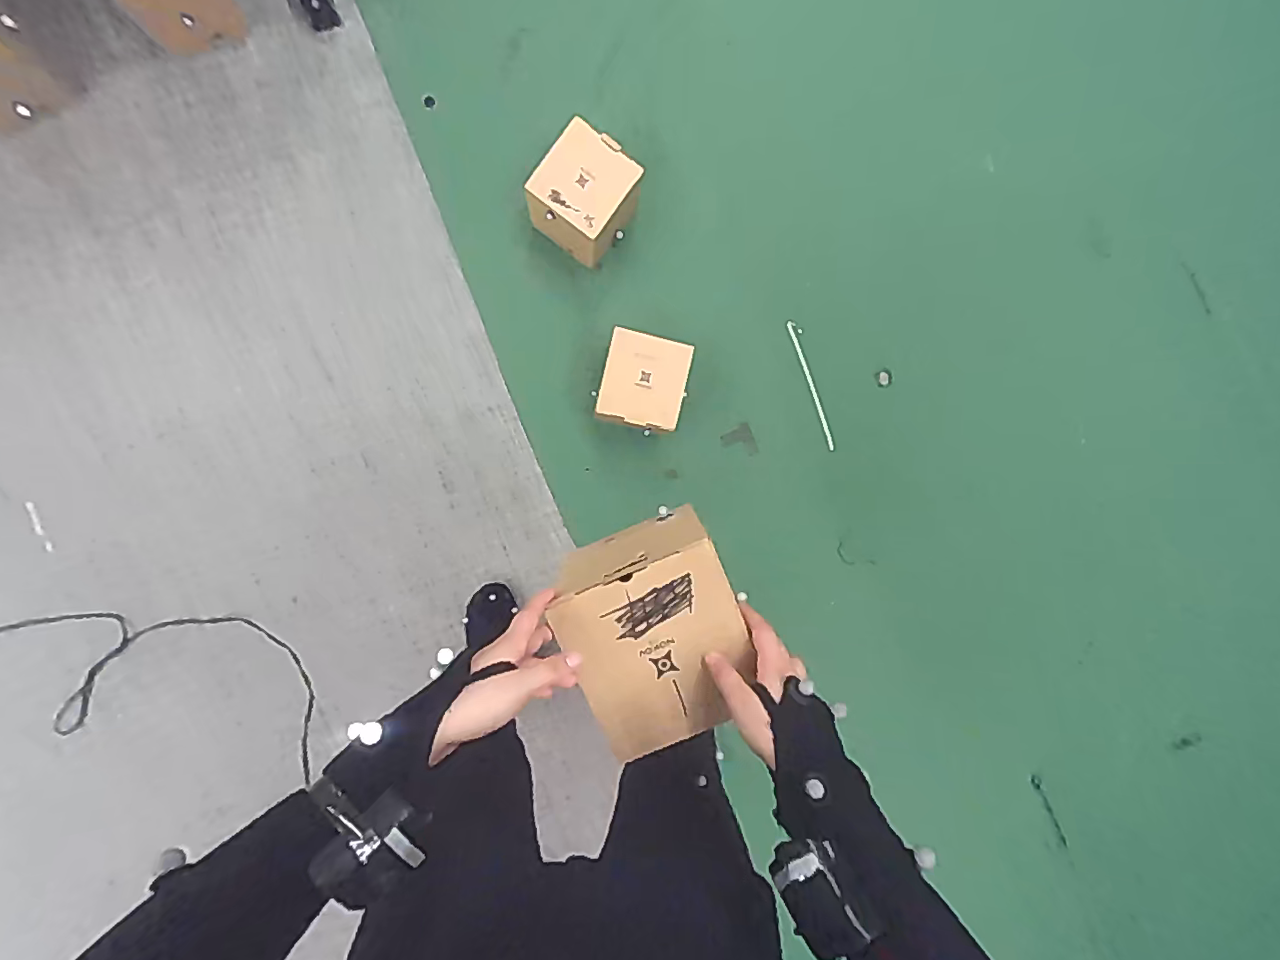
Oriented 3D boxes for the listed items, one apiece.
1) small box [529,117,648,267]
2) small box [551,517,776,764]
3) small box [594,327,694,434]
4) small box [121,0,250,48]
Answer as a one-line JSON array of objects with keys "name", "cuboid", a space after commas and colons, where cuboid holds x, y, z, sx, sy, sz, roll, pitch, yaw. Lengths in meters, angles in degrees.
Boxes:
[{"name": "small box", "cuboid": [-0.109, -0.579, 1.112, 0.168, 0.176, 0.179, 37, 88, -6]}, {"name": "small box", "cuboid": [0.020, 0.152, 0.581, 0.168, 0.176, 0.179, -23, 100, 3]}, {"name": "small box", "cuboid": [0.001, -0.199, 1.140, 0.168, 0.176, 0.179, 13, 91, -7]}, {"name": "small box", "cuboid": [-0.887, -0.962, 1.011, 0.168, 0.176, 0.179, -27, 95, -5]}]
